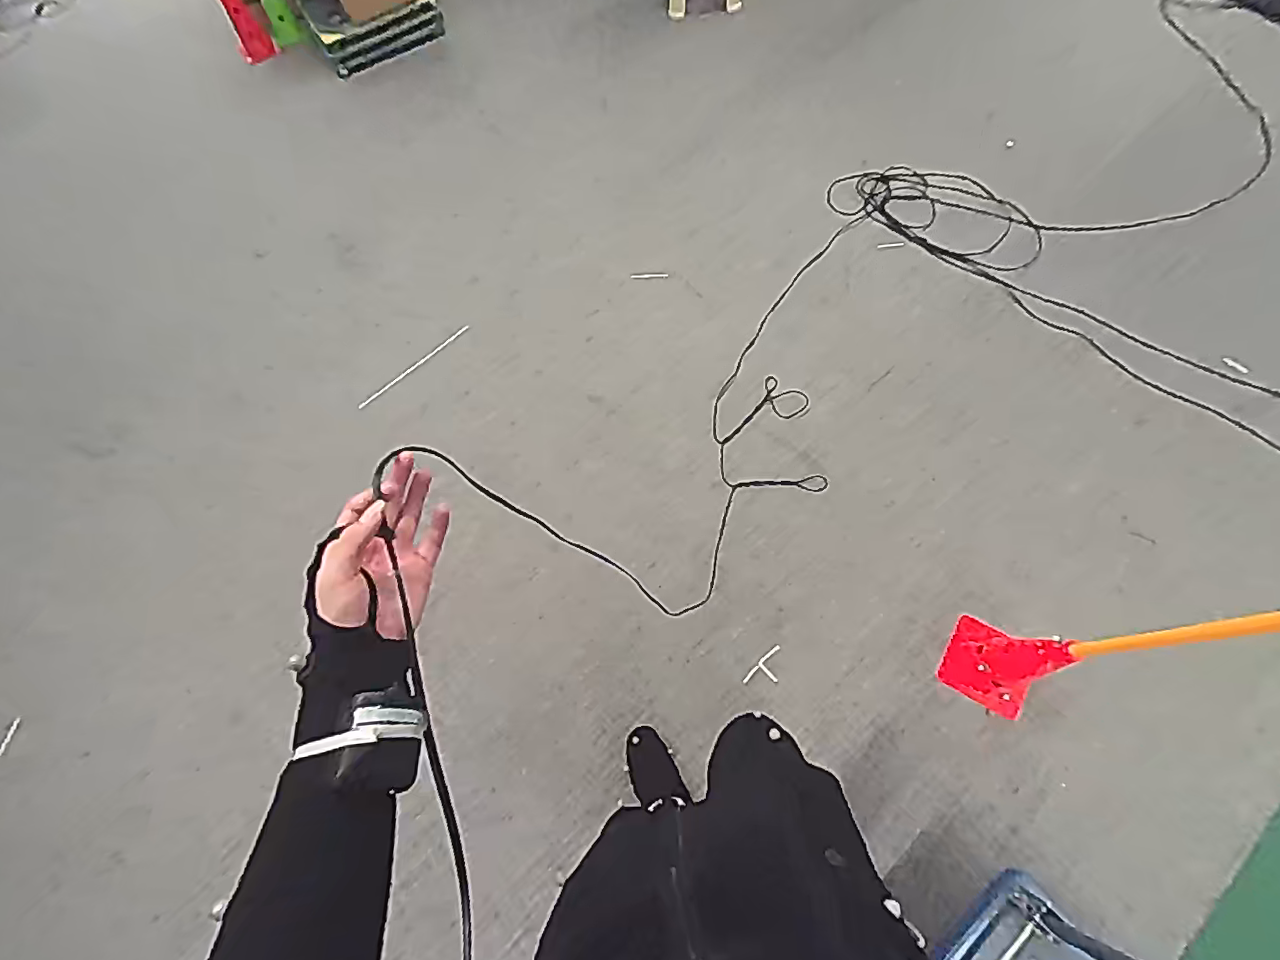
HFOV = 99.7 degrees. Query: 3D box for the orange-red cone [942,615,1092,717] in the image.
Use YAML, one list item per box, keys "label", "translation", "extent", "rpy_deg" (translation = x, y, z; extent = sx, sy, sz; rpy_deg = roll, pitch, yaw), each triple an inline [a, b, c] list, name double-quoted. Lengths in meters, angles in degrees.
- label: "orange-red cone"
  translation: [0.879, 0.400, 1.221]
  extent: [0.198, 0.360, 0.199]
  rpy_deg: [29, 71, 16]
